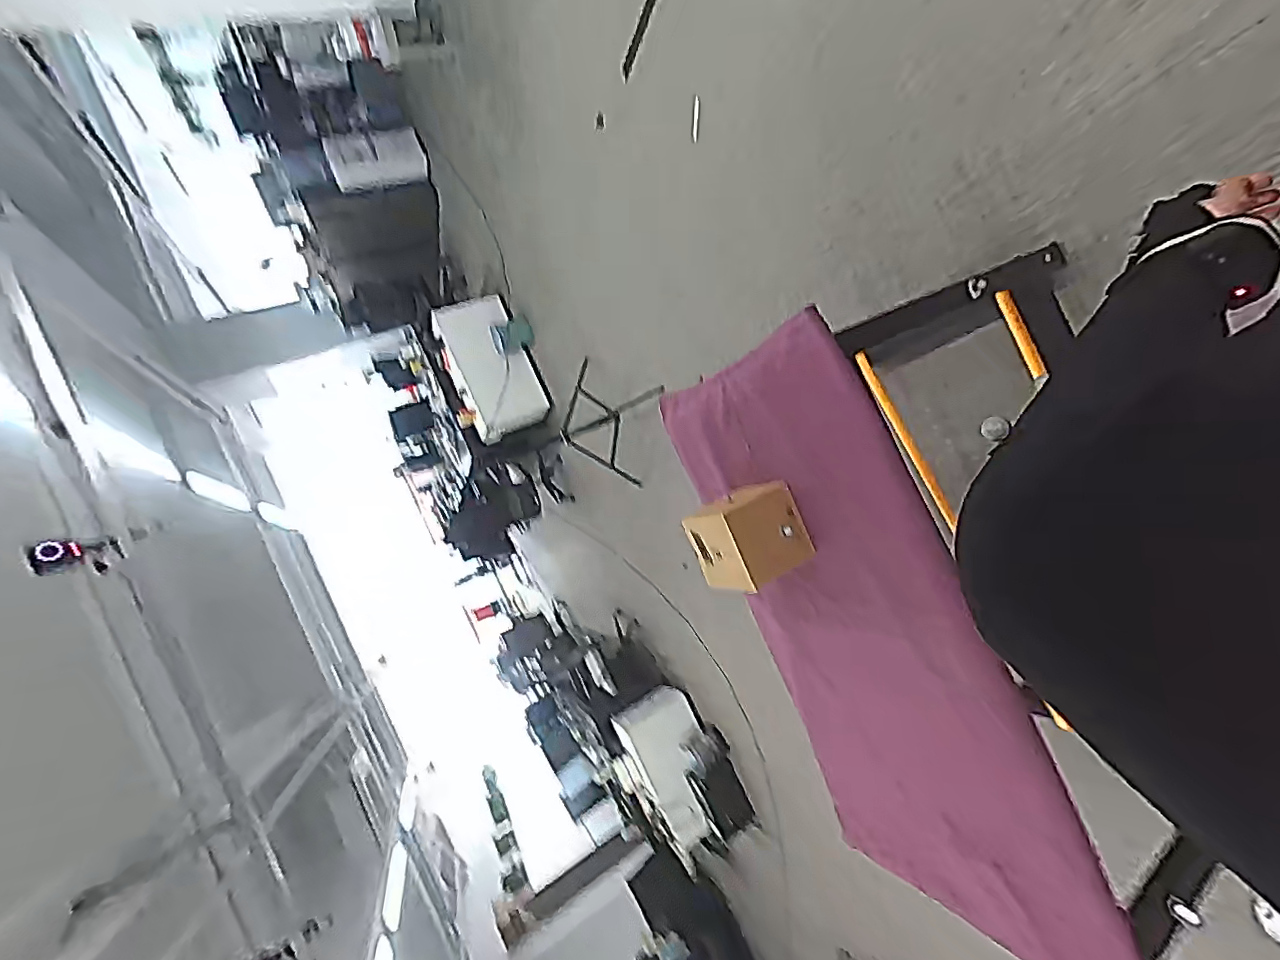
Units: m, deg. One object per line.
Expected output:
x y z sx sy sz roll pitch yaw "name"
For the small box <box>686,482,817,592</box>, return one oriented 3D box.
0.229 0.117 1.125 0.168 0.176 0.179 66 157 -2 "small box"
